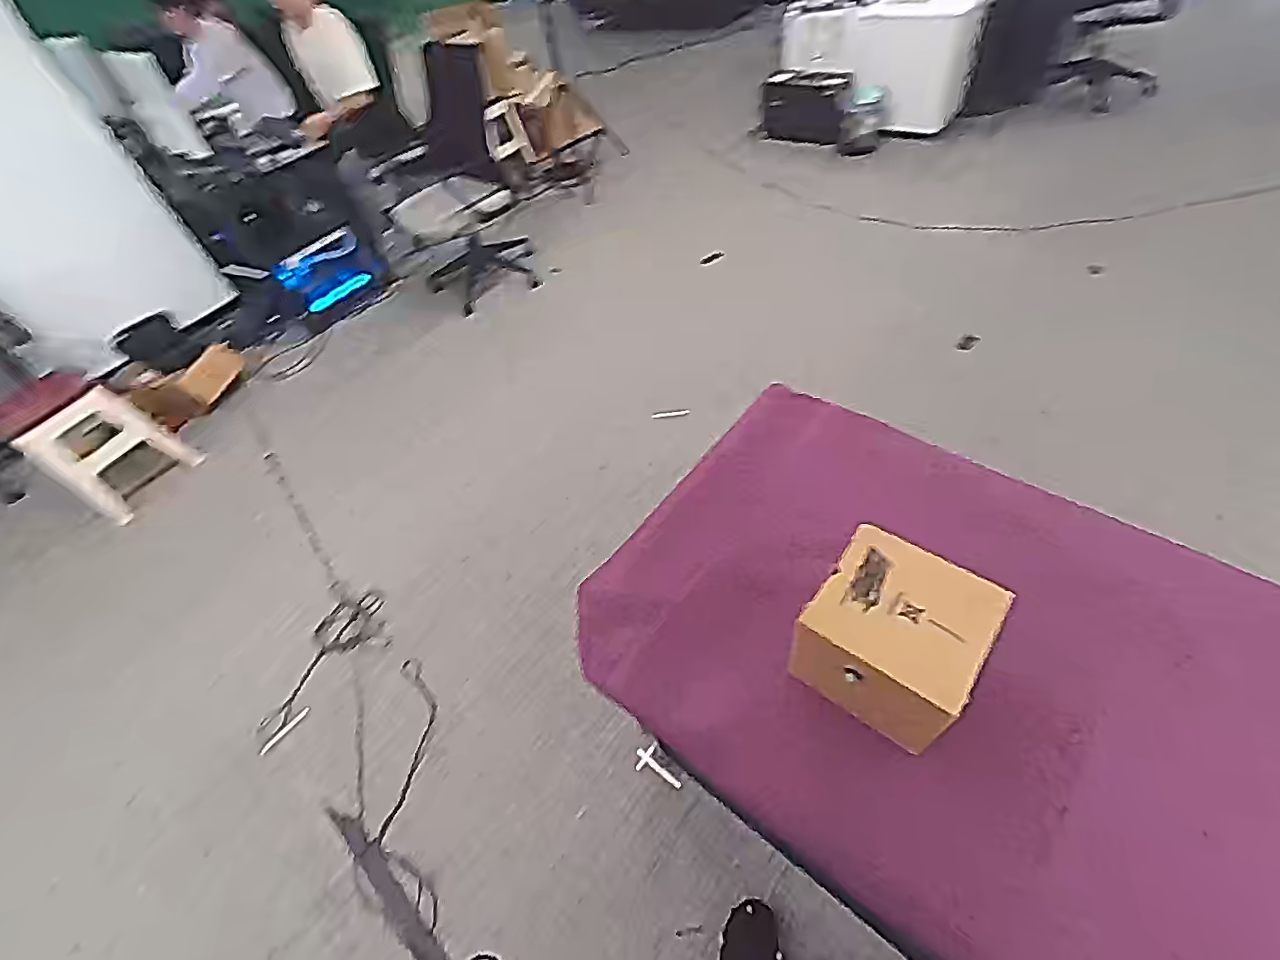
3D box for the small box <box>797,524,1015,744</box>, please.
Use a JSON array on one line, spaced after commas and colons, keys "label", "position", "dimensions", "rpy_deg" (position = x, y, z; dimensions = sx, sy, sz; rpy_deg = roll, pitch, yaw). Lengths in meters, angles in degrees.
[{"label": "small box", "position": [0.312, 0.194, 0.670], "dimensions": [0.179, 0.176, 0.168], "rpy_deg": [30, 62, 29]}]
